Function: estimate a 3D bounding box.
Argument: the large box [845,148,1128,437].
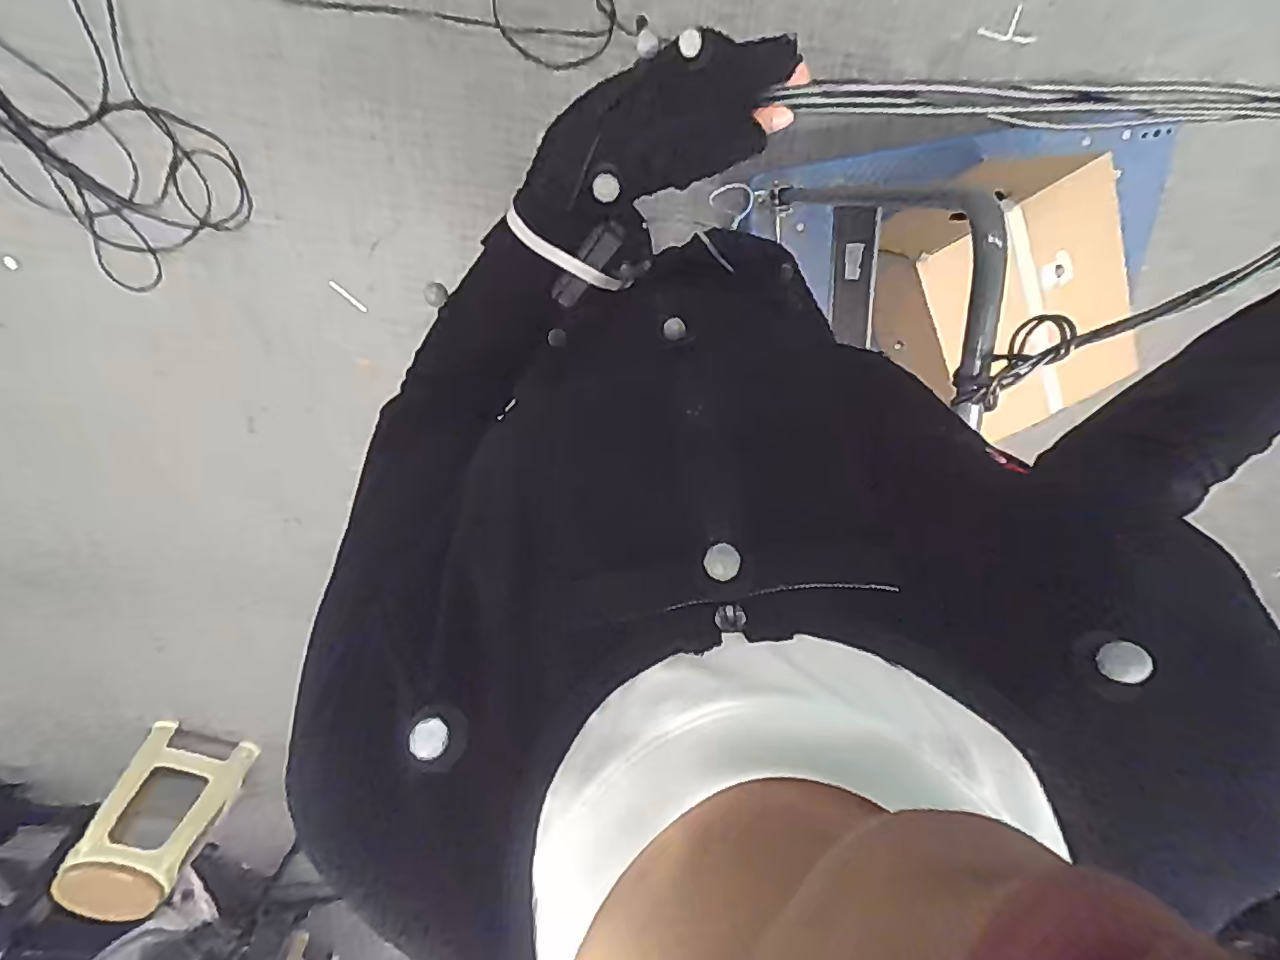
[{"bbox_3d":[0.669,-0.367,1.079,0.320,0.320,0.408,-28,116,11],"label":"large box"}]
